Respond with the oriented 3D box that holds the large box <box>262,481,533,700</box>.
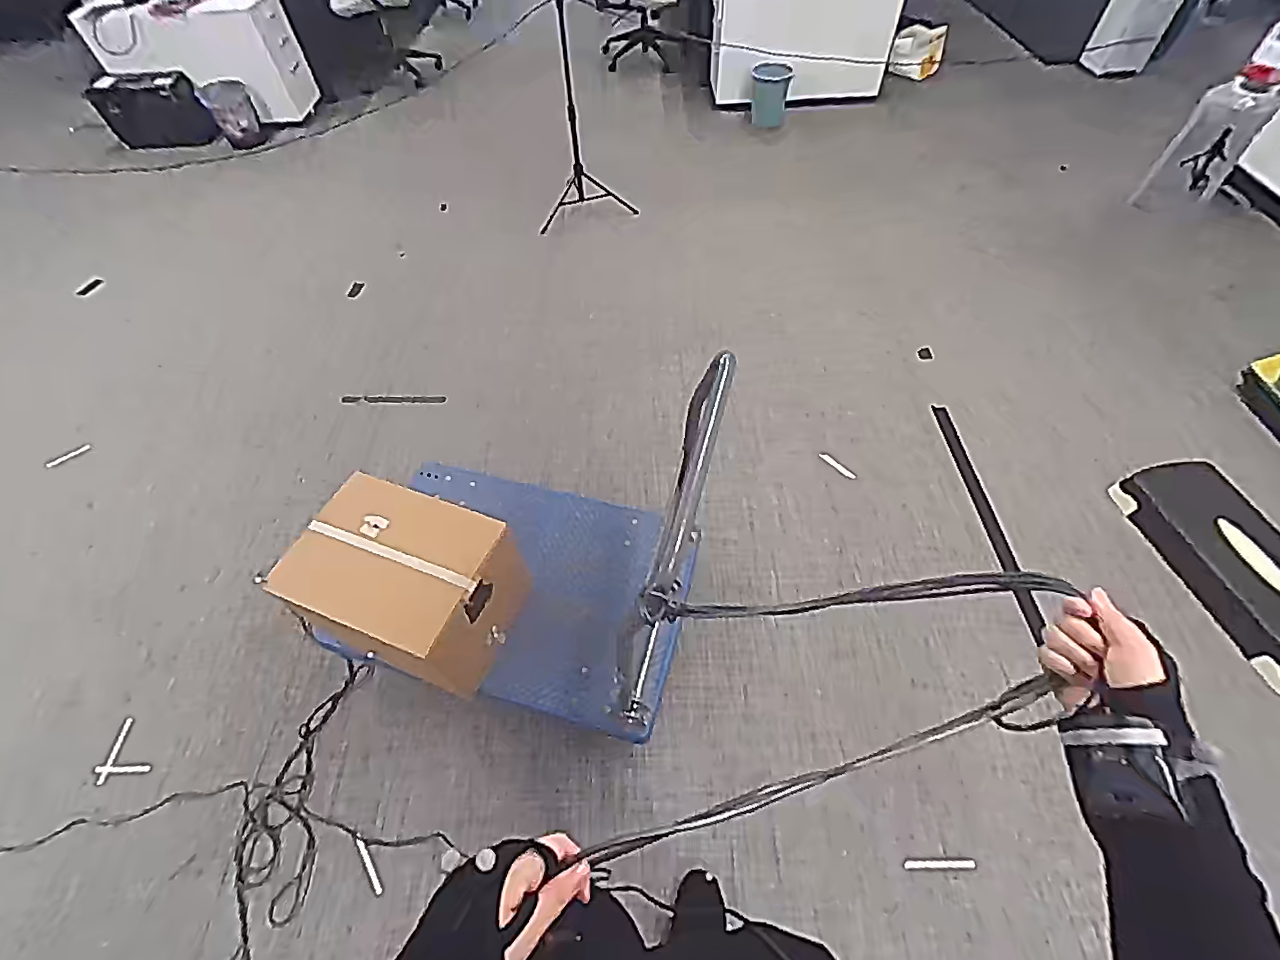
[{"bbox_3d":[-0.513,0.254,1.236,0.408,0.320,0.320,16,56,14],"label":"large box"}]
